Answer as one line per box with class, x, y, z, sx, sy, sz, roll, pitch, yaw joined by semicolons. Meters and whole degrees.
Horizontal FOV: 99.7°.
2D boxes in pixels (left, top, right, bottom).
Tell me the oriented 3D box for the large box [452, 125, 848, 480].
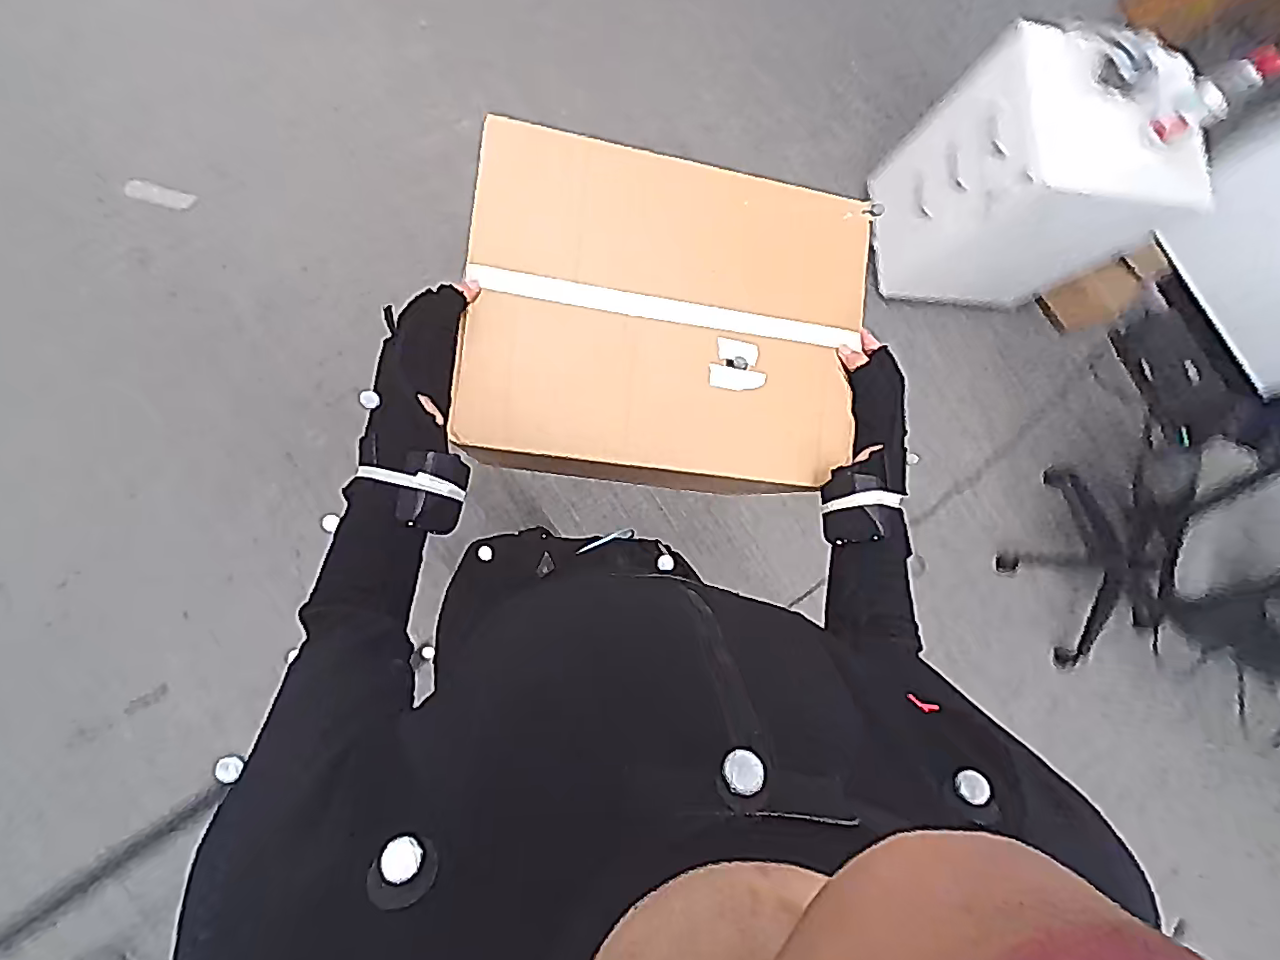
large box;-0.006;-0.171;0.695;0.408;0.320;0.320;5;88;-12
